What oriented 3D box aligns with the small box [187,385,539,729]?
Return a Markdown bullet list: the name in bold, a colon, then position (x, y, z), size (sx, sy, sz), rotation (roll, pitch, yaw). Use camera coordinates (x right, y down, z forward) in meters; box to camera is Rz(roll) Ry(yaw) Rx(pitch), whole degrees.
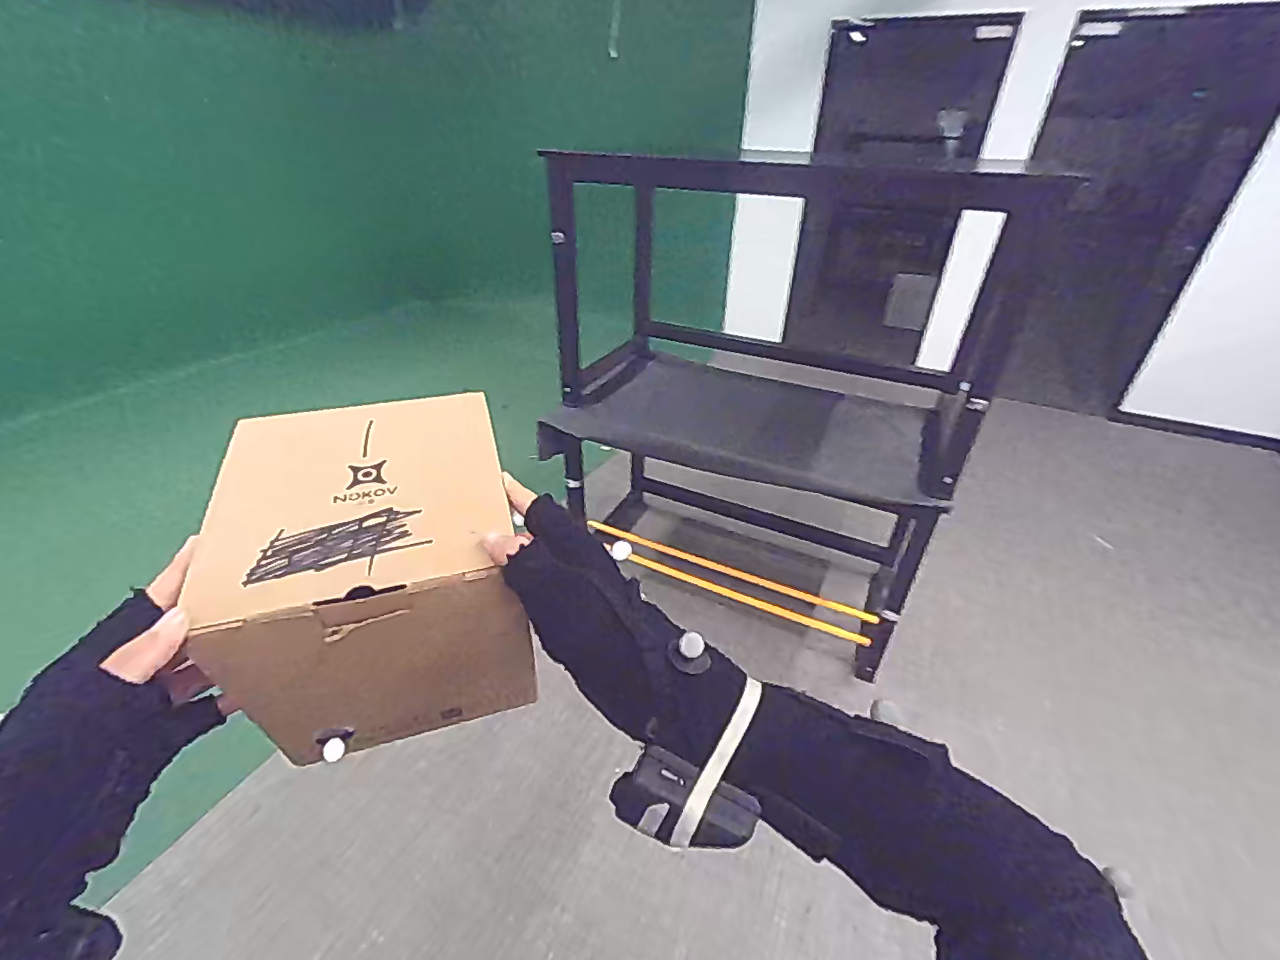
- **small box**: position (-0.171, 0.055, 0.391), size (0.168, 0.176, 0.179), rotation (-9, 43, -15)
